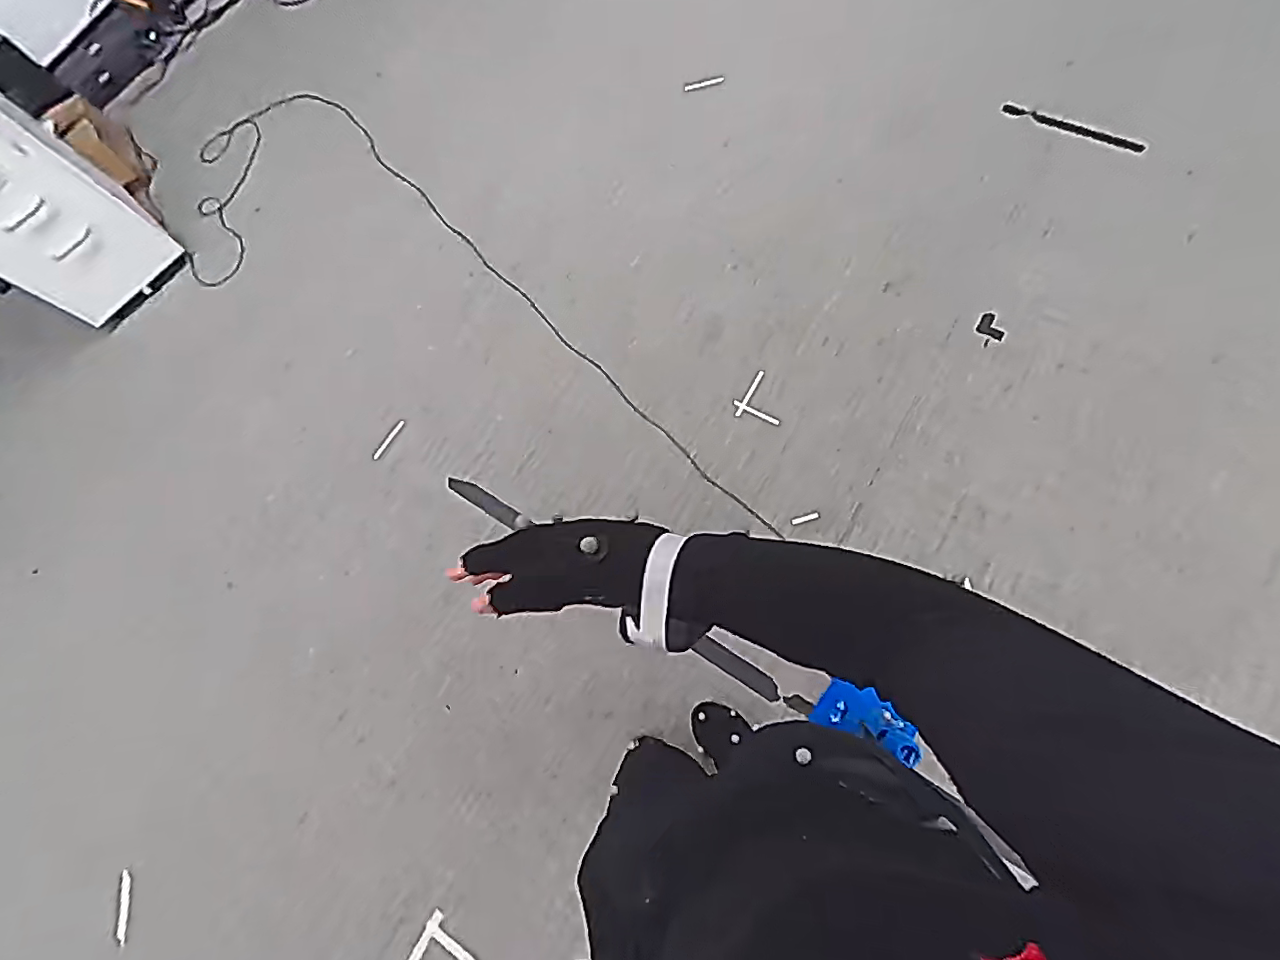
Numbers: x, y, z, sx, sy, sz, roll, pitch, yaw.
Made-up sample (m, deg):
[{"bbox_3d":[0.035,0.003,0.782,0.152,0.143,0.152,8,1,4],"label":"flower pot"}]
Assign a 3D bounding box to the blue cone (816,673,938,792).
[{"bbox_3d":[0.475,0.496,1.035,0.192,0.380,0.193,32,79,18],"label":"blue cone"}]
